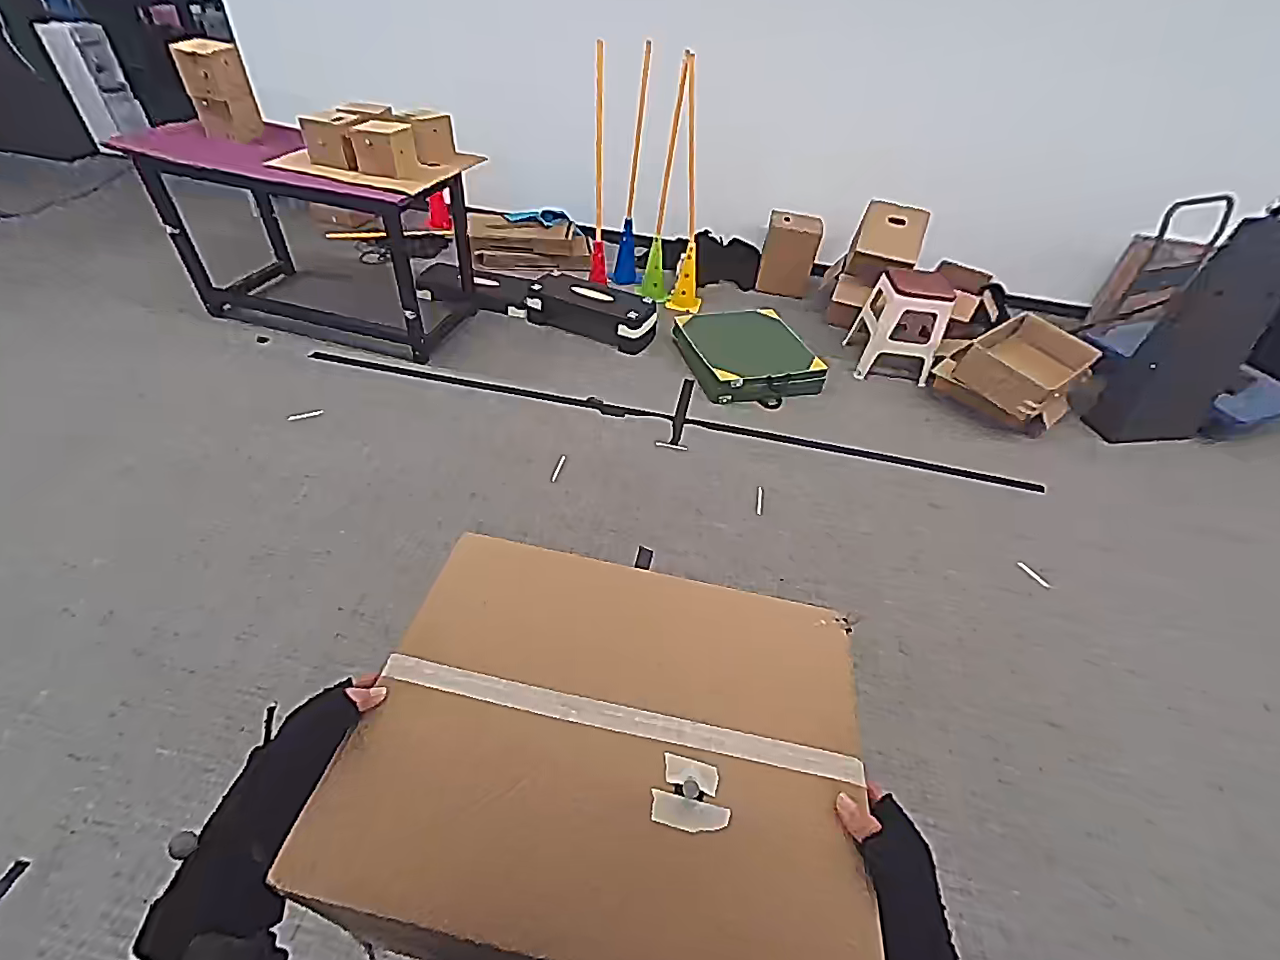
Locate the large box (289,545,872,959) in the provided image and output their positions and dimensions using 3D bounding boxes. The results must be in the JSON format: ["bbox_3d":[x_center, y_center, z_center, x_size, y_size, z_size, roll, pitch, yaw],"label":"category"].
[{"bbox_3d":[-0.035,0.313,0.560,0.408,0.320,0.320,12,44,3],"label":"large box"}]
